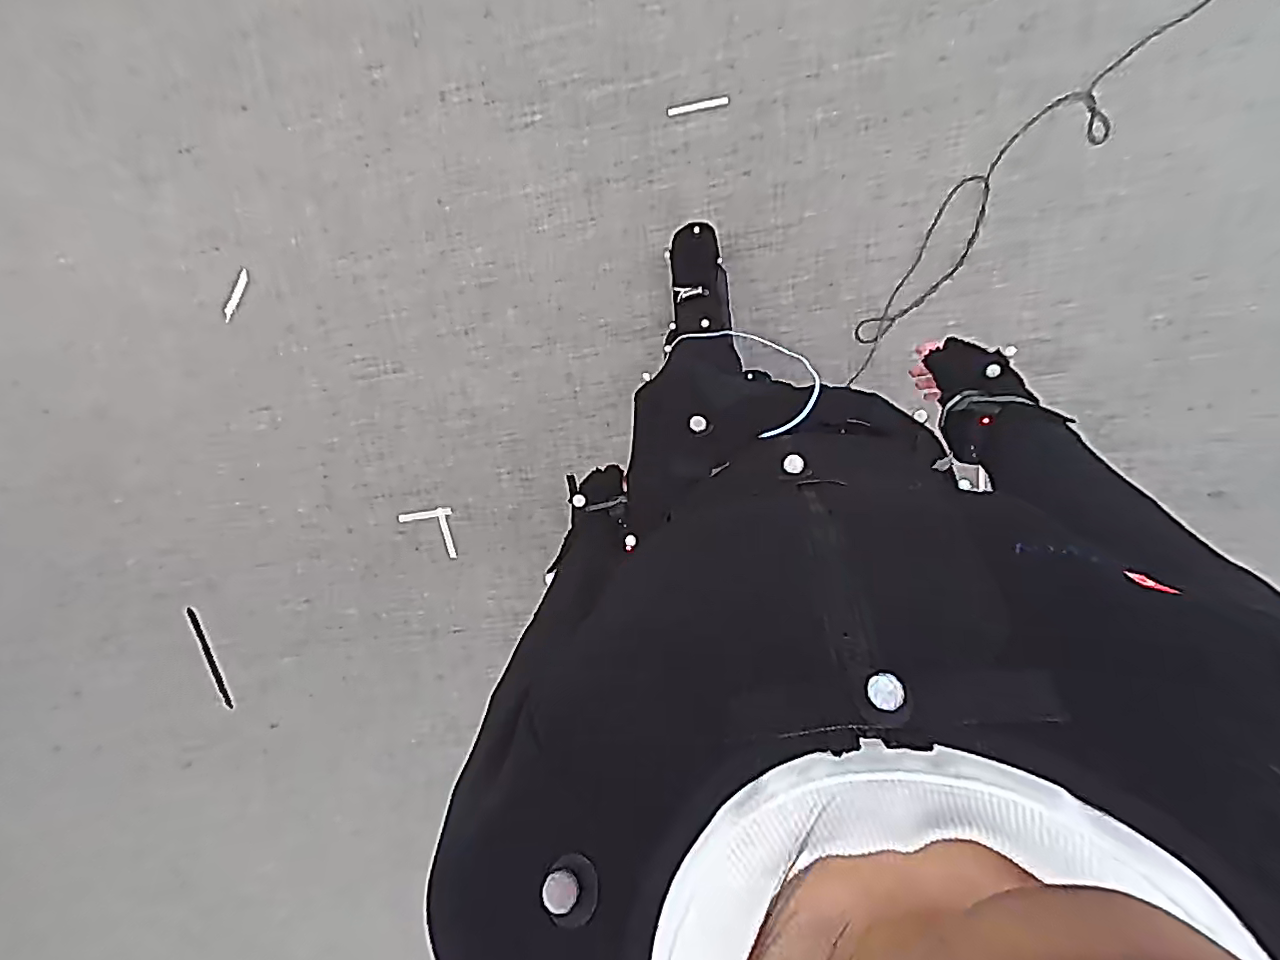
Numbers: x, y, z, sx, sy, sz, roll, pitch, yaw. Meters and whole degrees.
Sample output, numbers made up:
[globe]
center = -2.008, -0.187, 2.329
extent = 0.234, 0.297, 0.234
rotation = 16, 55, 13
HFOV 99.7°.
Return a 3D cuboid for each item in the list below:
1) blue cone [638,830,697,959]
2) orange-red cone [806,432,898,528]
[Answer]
[blue cone]
center = 0.066, 1.284, 1.635
extent = 0.192, 0.380, 0.193
rotation = -2, 105, 10
[orange-red cone]
center = 0.506, 0.024, 1.214
extent = 0.199, 0.360, 0.198
rotation = -2, 106, 8
